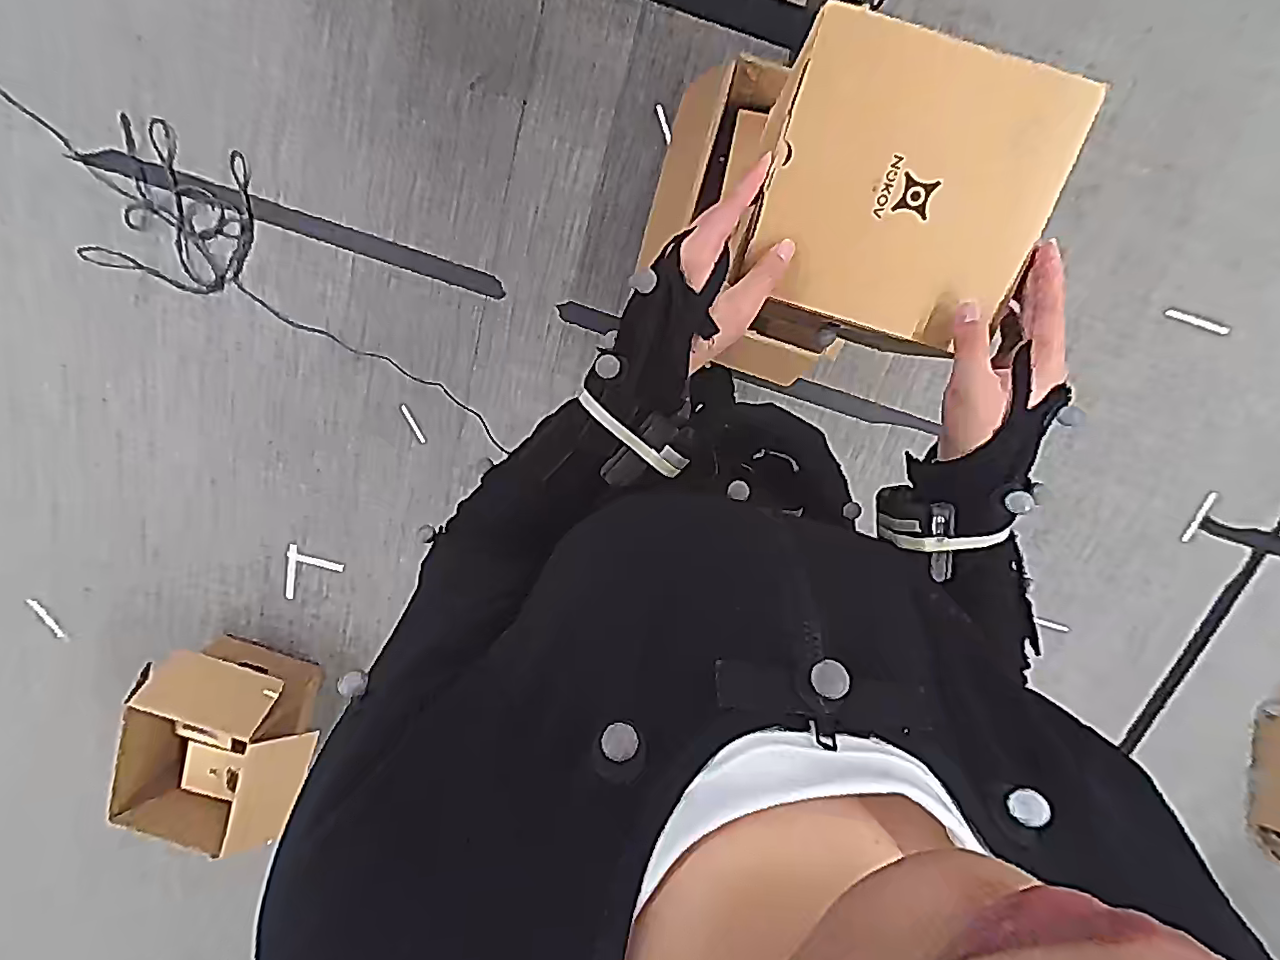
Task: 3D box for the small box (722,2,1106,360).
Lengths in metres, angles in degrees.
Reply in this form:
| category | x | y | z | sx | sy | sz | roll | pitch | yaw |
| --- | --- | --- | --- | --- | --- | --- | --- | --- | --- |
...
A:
| category | x | y | z | sx | sy | sz | roll | pitch | yaw |
| --- | --- | --- | --- | --- | --- | --- | --- | --- | --- |
| small box | 0.173 | -0.200 | 0.412 | 0.179 | 0.176 | 0.168 | 16 | 106 | 0 |
